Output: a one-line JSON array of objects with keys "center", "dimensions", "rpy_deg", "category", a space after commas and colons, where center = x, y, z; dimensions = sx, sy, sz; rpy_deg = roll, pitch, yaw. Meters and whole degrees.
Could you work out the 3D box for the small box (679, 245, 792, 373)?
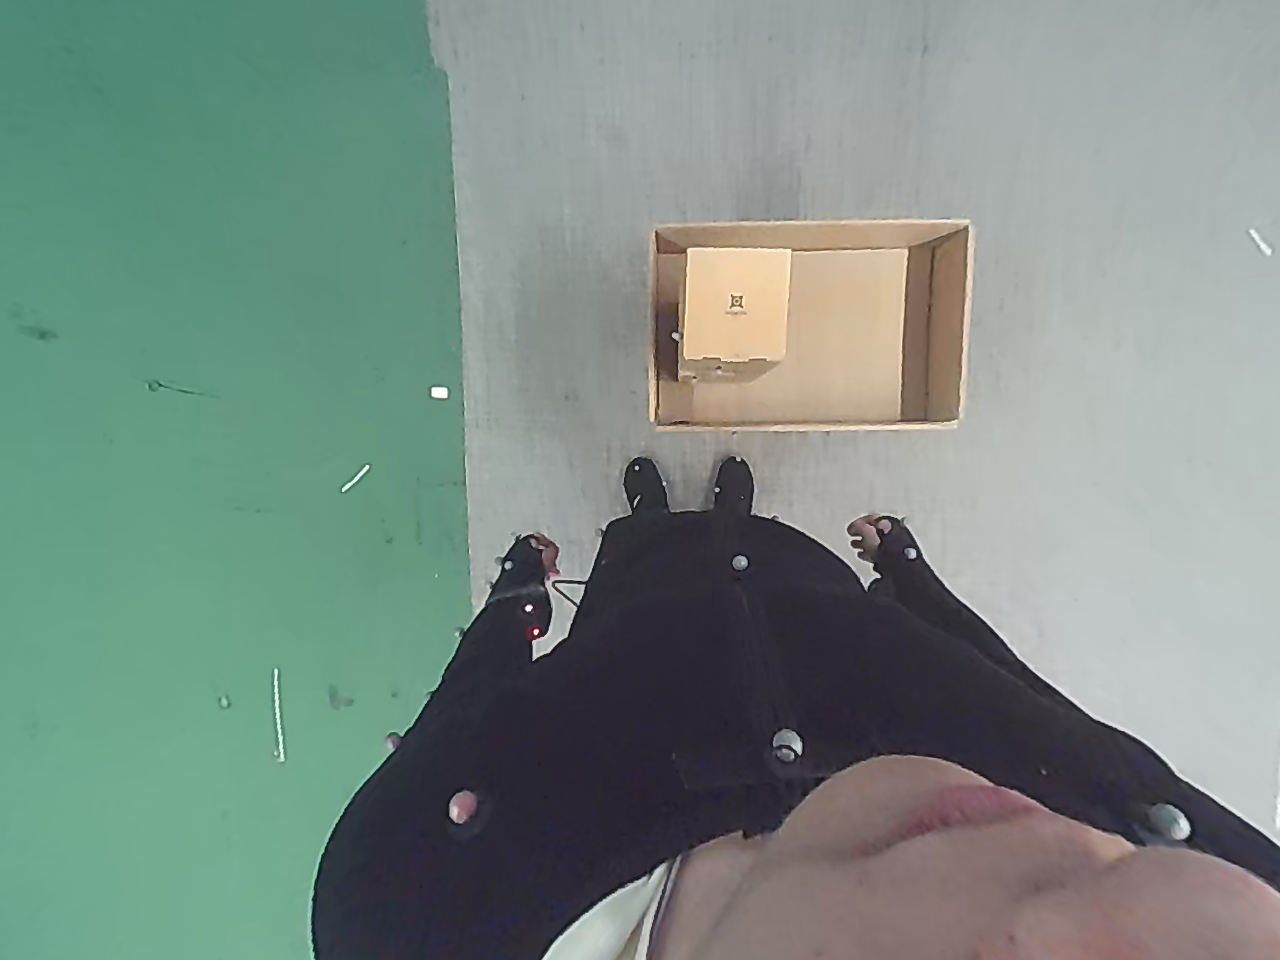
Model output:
[{"center": [0.156, -0.286, 0.934], "dimensions": [0.168, 0.176, 0.179], "rpy_deg": [2, 95, 1], "category": "small box"}]
